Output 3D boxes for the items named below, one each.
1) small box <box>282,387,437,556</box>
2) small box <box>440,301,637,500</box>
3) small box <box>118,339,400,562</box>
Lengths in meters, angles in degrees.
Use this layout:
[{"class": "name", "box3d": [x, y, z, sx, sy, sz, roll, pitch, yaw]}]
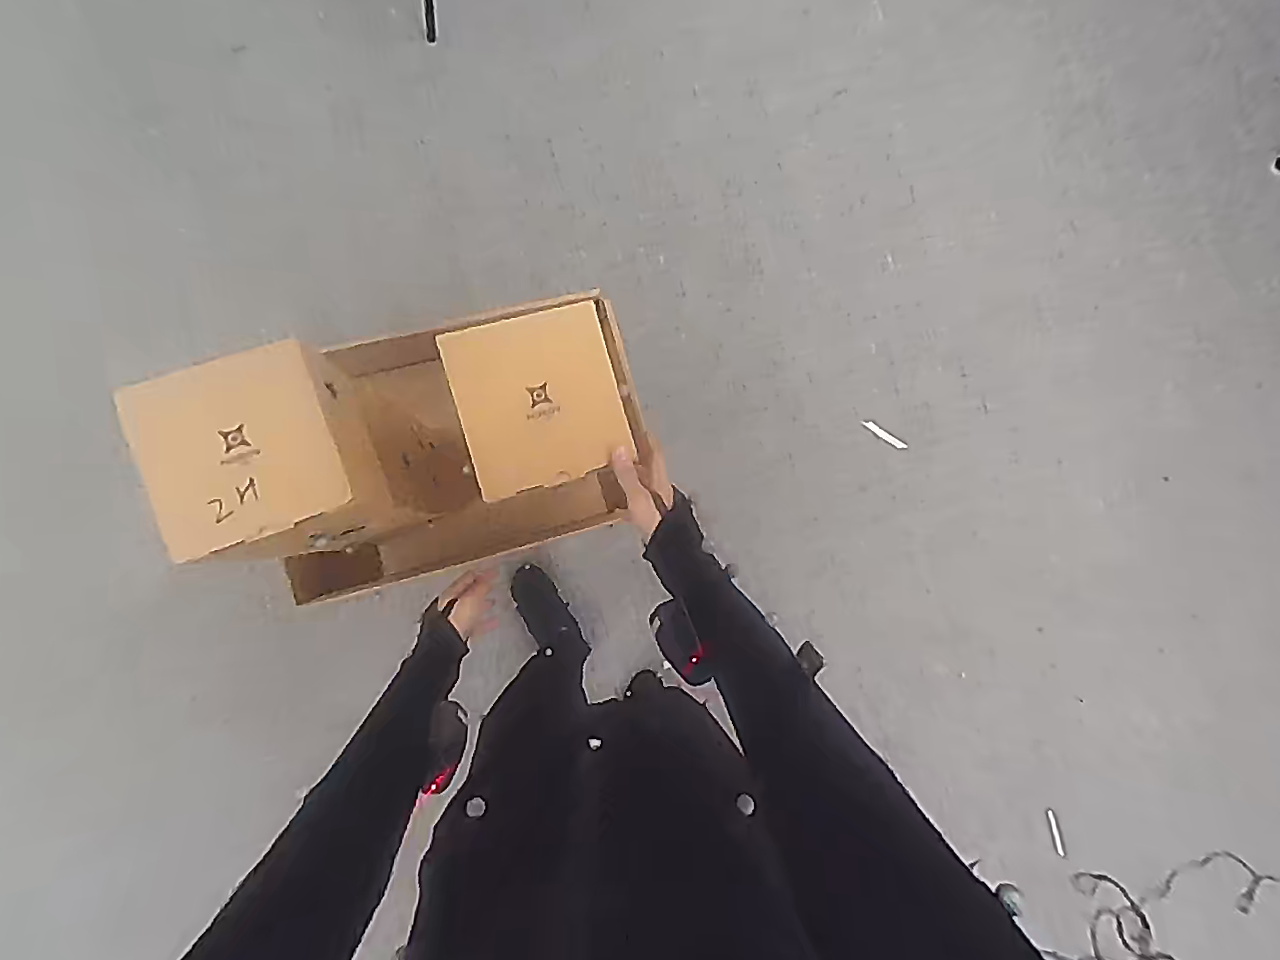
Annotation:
[{"class": "small box", "box3d": [-0.400, -0.007, 0.750, 0.168, 0.176, 0.179, -19, 88, -10]}, {"class": "small box", "box3d": [-0.117, -0.082, 0.631, 0.168, 0.176, 0.179, -17, 93, -10]}, {"class": "small box", "box3d": [-0.388, -0.023, 0.585, 0.168, 0.176, 0.179, -21, 88, -10]}]
